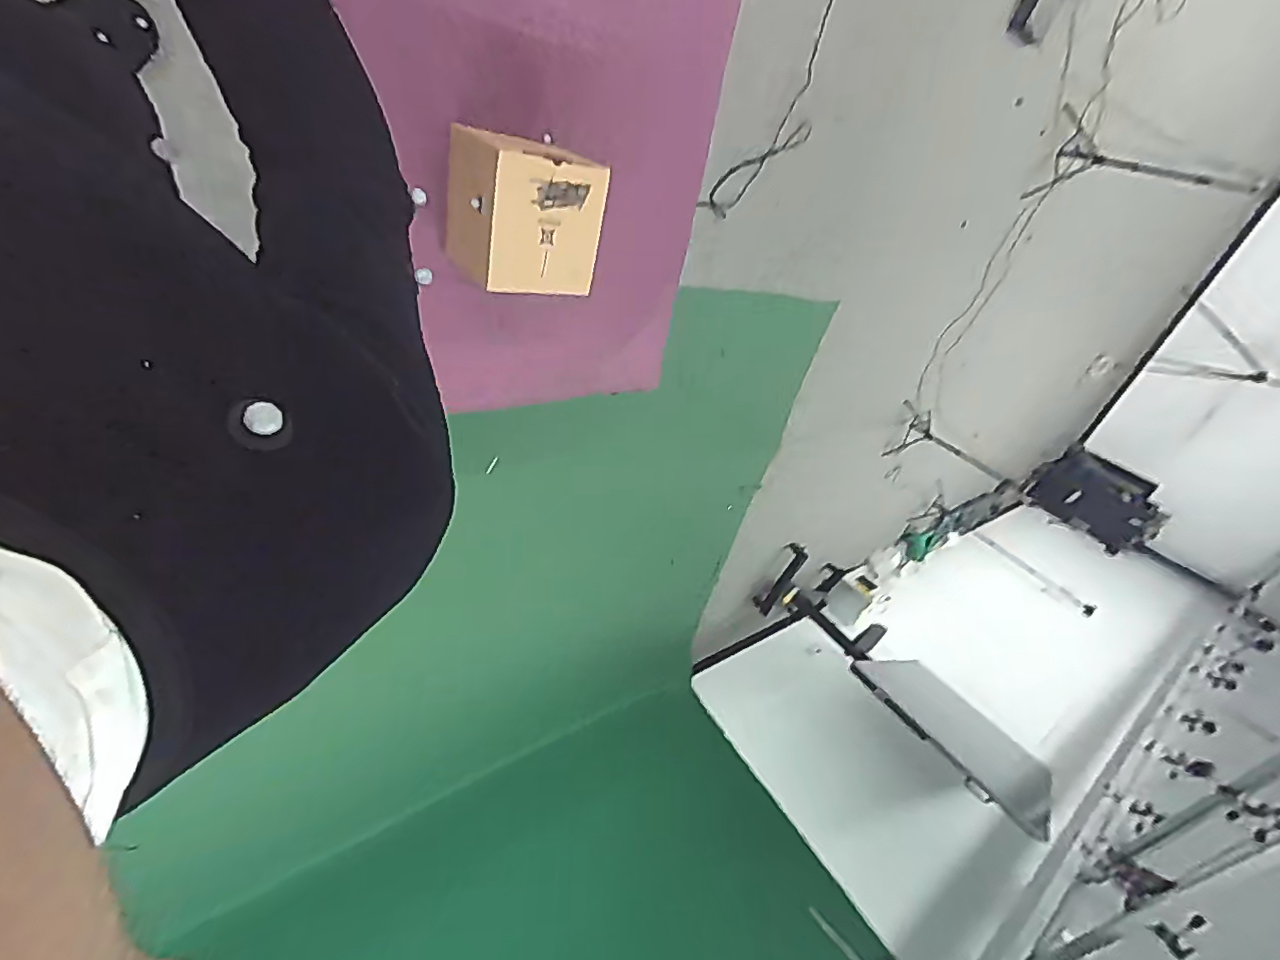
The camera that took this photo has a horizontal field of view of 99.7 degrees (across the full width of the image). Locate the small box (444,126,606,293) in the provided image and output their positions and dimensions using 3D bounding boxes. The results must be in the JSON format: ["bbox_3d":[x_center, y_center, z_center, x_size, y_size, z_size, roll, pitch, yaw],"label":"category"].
[{"bbox_3d":[-0.176,-0.392,0.791,0.168,0.176,0.179,-11,132,-36],"label":"small box"}]
